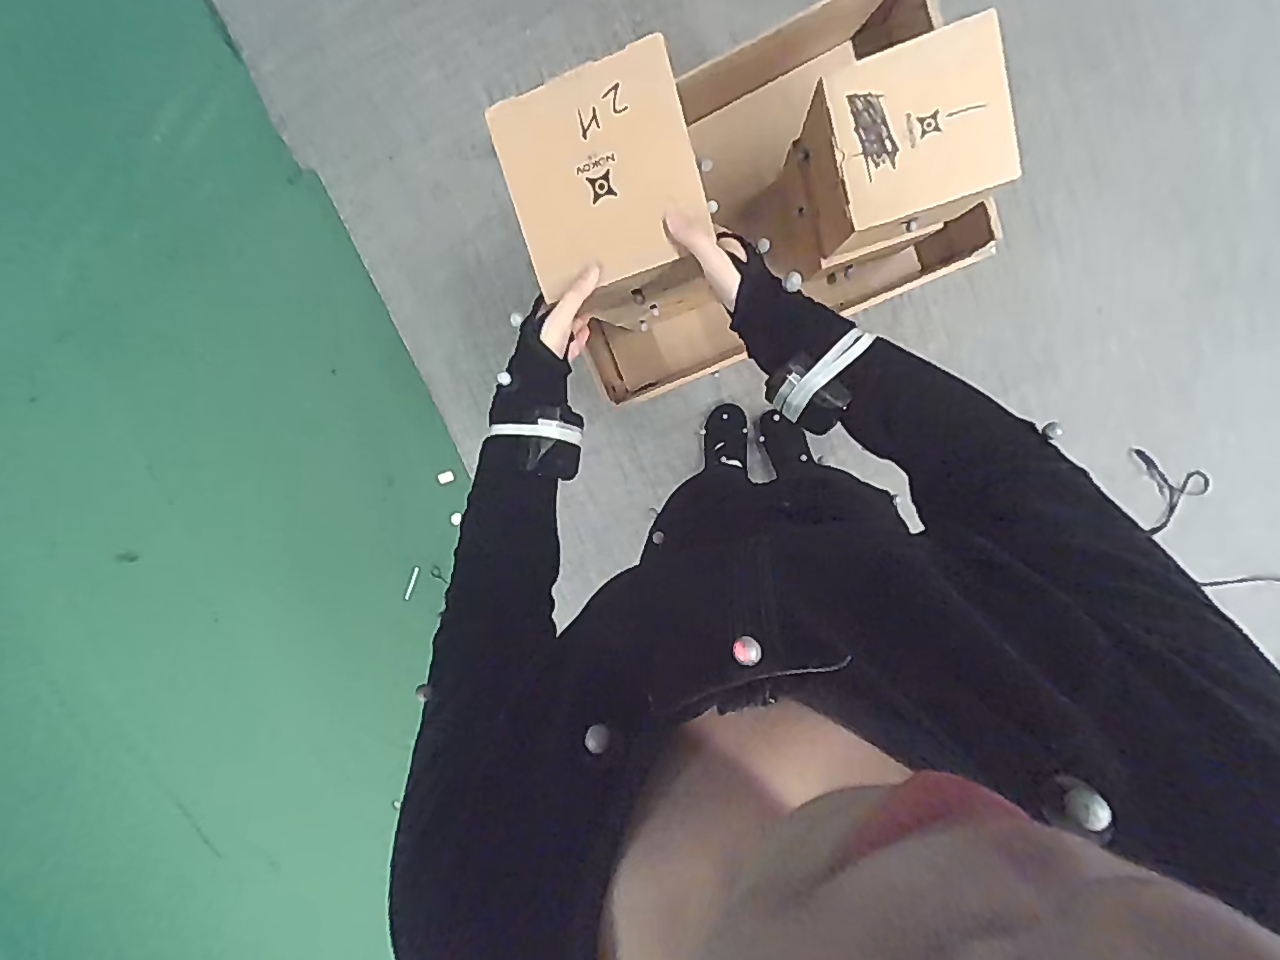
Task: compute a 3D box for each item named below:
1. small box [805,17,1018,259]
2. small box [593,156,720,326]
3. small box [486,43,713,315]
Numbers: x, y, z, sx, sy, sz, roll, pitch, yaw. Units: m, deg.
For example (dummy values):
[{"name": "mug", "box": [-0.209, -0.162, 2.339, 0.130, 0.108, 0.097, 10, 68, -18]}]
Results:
[{"name": "small box", "box": [0.305, -0.383, 0.648, 0.179, 0.176, 0.168, -15, 99, 11]}, {"name": "small box", "box": [0.002, -0.315, 0.710, 0.168, 0.176, 0.179, -16, 99, 11]}, {"name": "small box", "box": [-0.024, -0.277, 0.551, 0.168, 0.176, 0.179, -15, 99, 11]}]
